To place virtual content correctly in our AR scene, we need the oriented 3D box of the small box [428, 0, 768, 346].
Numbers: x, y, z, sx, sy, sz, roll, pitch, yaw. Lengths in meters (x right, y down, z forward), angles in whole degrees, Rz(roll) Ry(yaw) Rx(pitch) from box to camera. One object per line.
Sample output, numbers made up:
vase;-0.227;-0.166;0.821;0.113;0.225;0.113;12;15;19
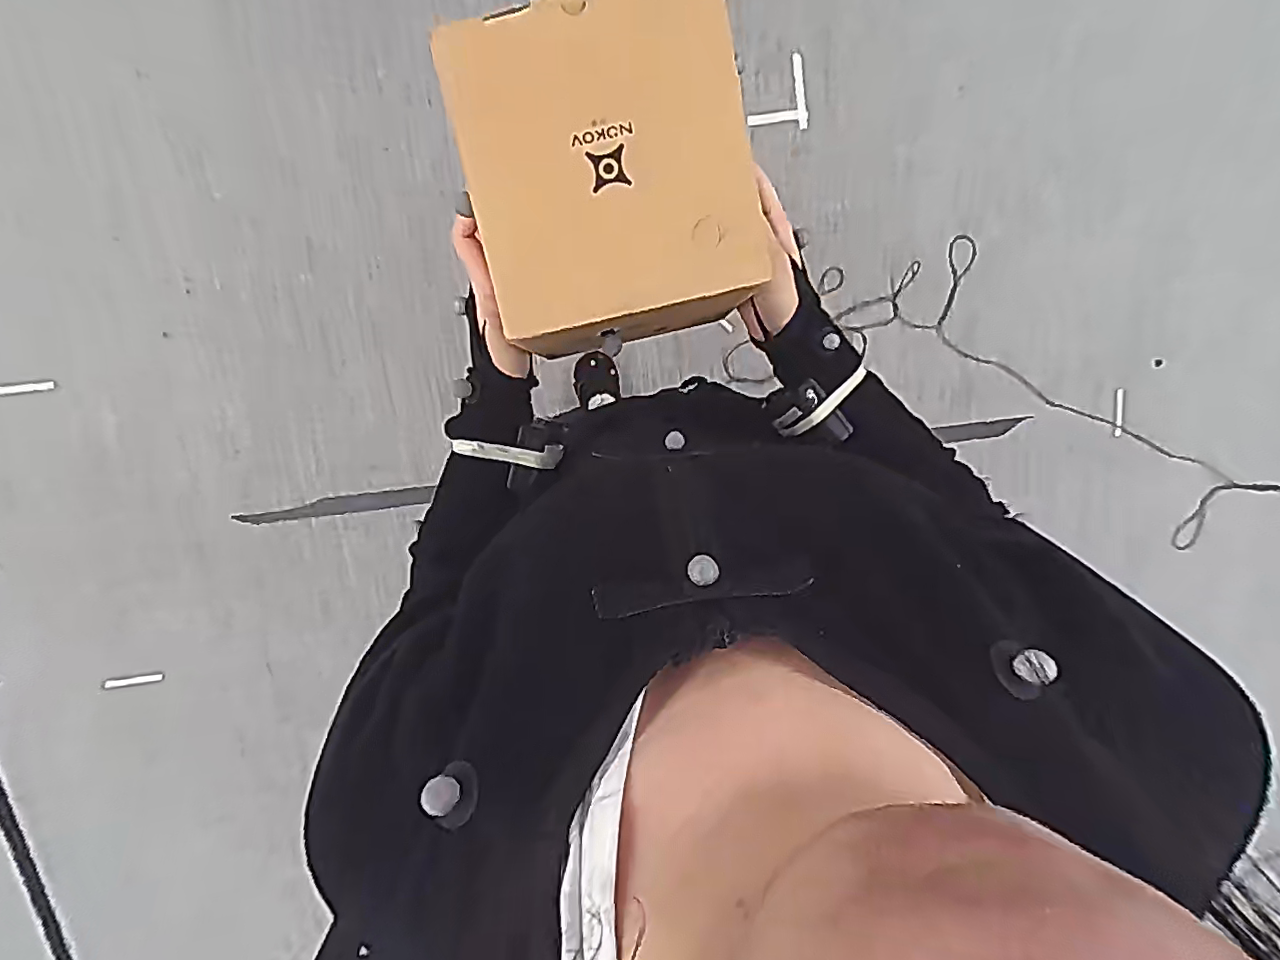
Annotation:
small box;-0.020;-0.200;0.387;0.168;0.176;0.179;-13;98;1
